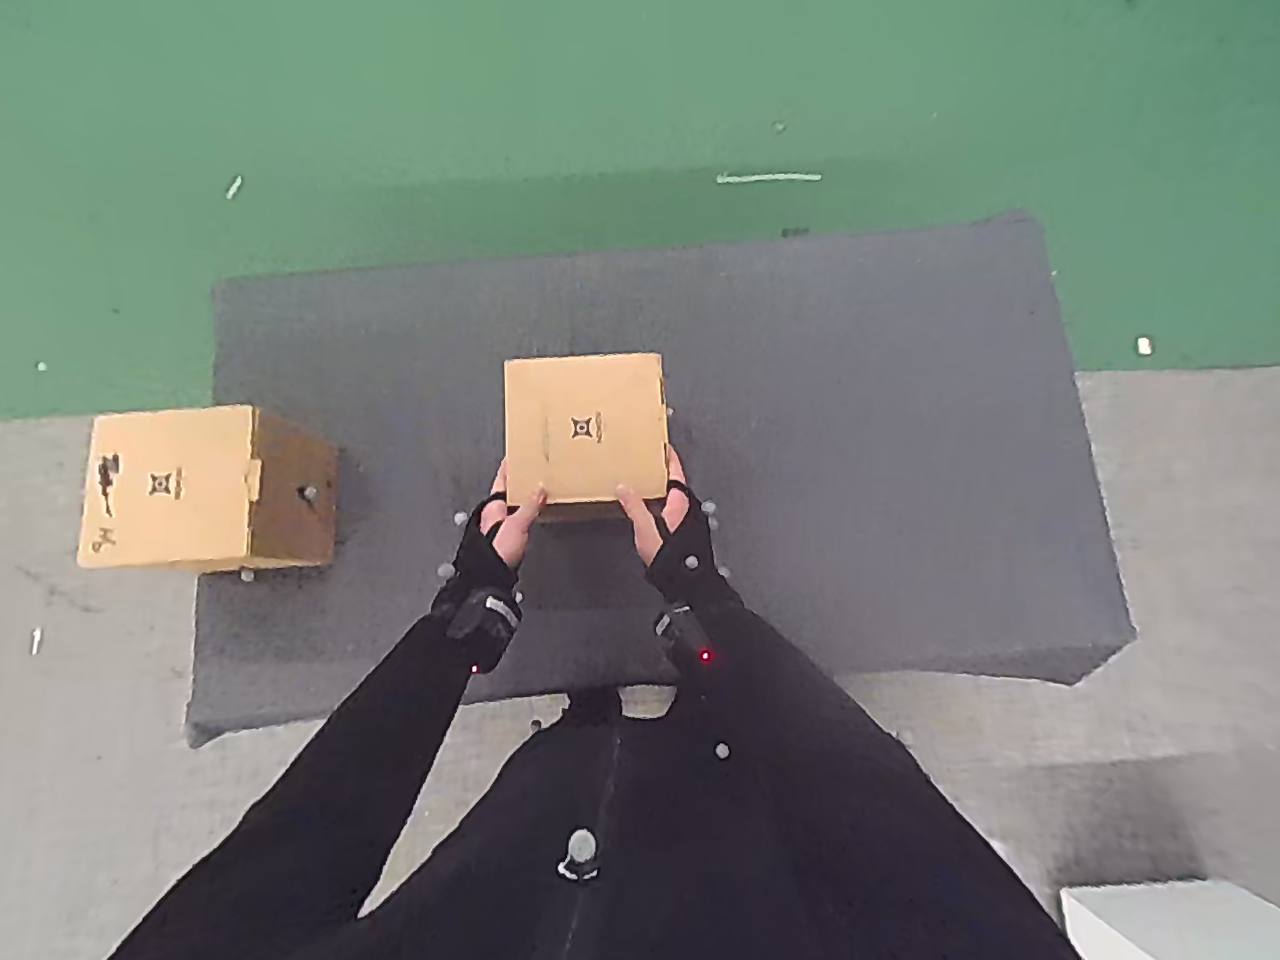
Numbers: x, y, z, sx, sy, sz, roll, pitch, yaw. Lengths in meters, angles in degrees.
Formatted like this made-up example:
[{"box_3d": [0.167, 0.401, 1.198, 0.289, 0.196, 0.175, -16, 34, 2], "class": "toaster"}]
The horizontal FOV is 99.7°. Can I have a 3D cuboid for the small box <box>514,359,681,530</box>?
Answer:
[{"box_3d": [-0.049, -0.034, 0.656, 0.179, 0.176, 0.168, -3, 77, 0], "class": "small box"}]

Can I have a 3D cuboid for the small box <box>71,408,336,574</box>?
[{"box_3d": [-0.484, 0.021, 0.633, 0.179, 0.176, 0.168, -3, 78, -3], "class": "small box"}]
